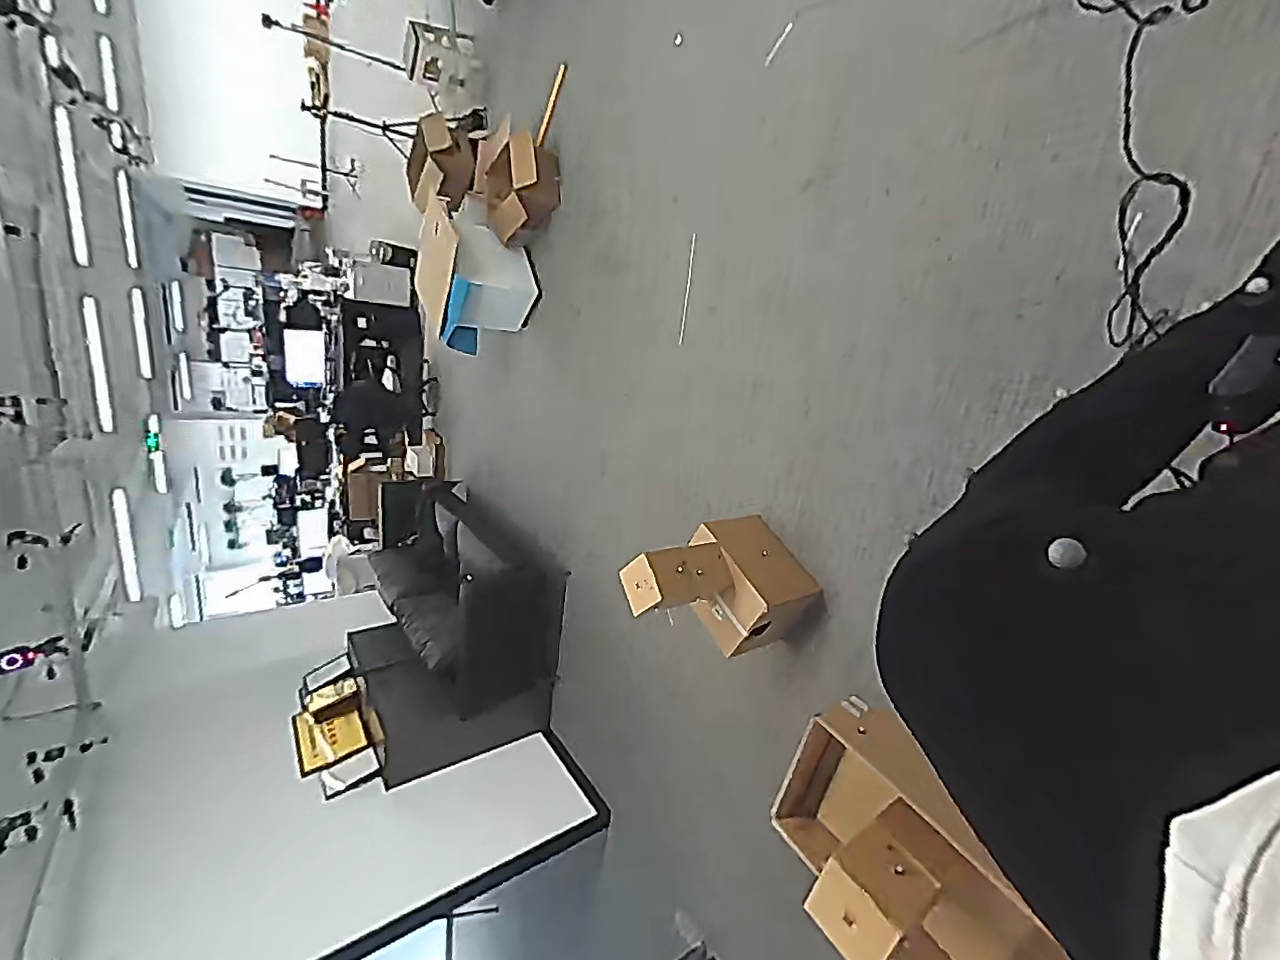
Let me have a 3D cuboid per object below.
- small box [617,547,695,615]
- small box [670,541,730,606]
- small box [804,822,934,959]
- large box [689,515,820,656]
[{"bbox_3d":[0.054,0.339,1.826,0.179,0.176,0.168,-44,60,44],"label":"small box"},{"bbox_3d":[0.187,0.332,1.925,0.179,0.176,0.168,-44,59,46],"label":"small box"},{"bbox_3d":[0.486,0.880,1.145,0.168,0.176,0.179,36,121,44],"label":"small box"},{"bbox_3d":[0.392,0.387,2.069,0.408,0.320,0.320,52,133,35],"label":"large box"}]
